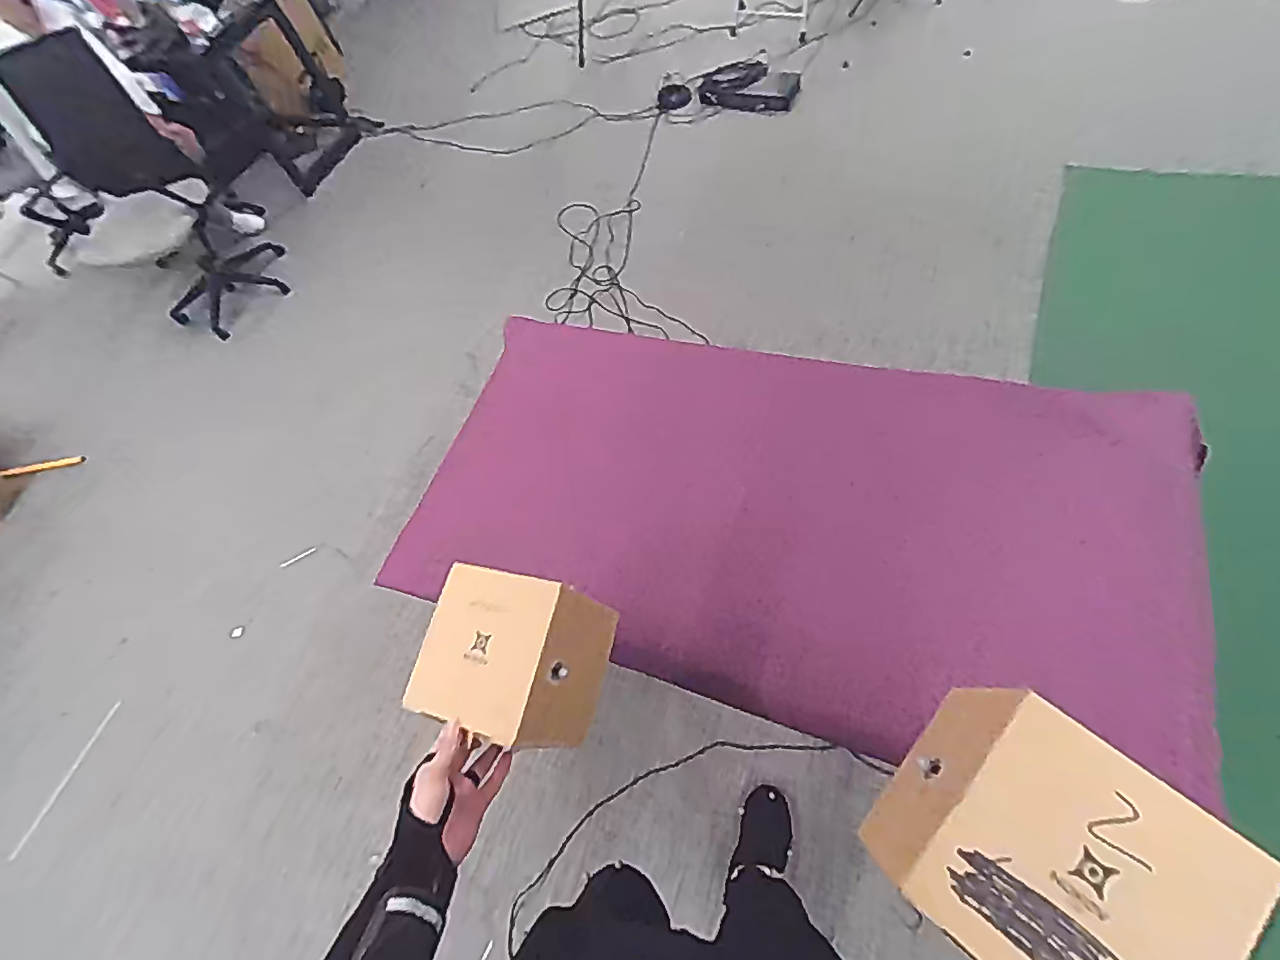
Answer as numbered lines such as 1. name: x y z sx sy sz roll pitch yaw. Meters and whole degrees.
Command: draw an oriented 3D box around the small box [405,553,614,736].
1. small box: -0.151 0.210 0.687 0.168 0.176 0.179 7 69 26
